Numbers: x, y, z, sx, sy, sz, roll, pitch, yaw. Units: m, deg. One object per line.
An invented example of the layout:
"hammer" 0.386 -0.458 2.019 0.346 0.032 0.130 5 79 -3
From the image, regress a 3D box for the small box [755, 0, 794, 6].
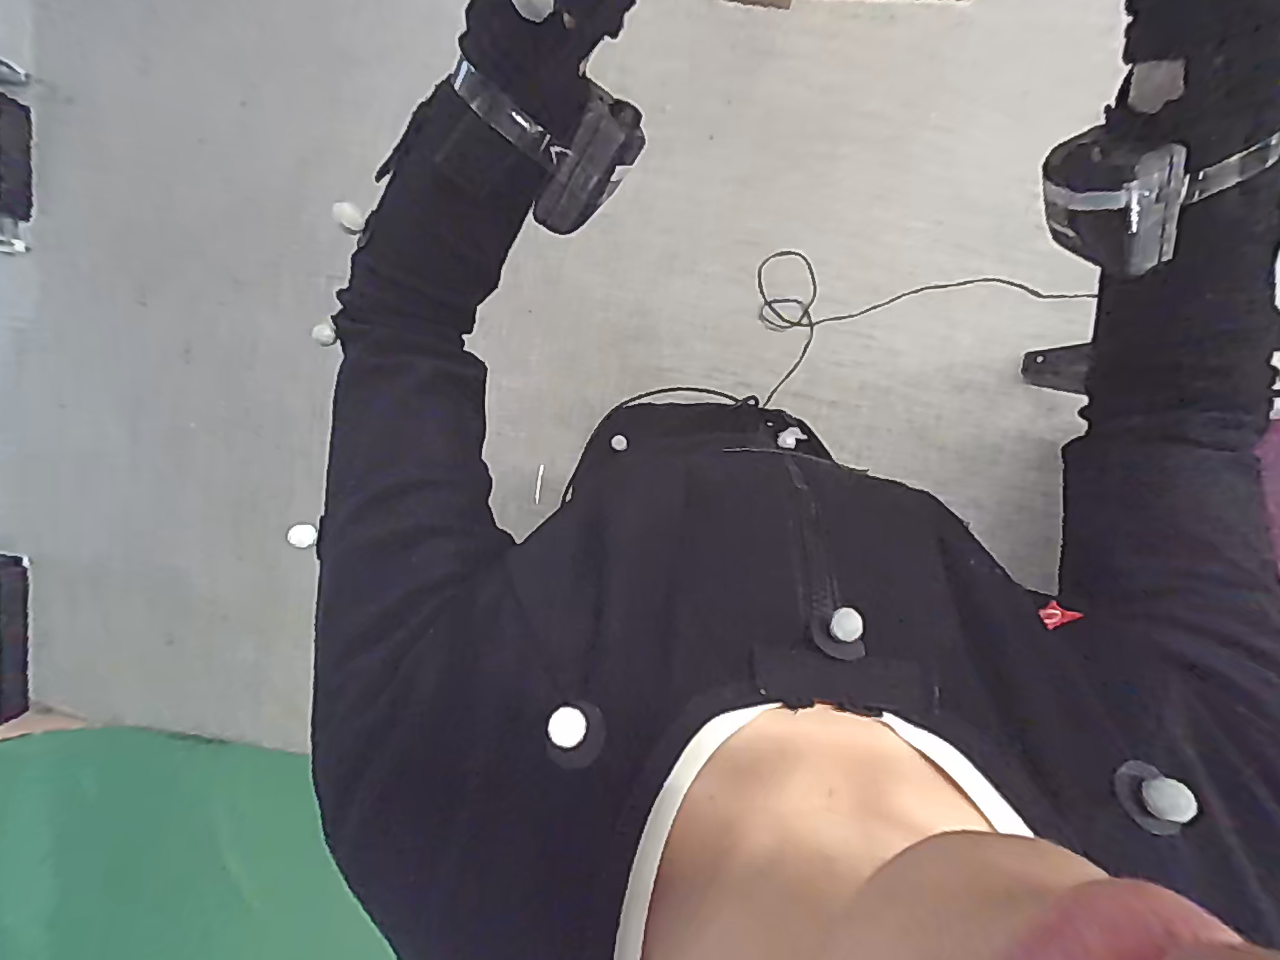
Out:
"small box" 0.297 -1.235 1.232 0.179 0.176 0.168 10 97 0

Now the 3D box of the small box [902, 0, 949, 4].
"small box" 0.124 -0.357 0.227 0.168 0.176 0.179 4 106 2
